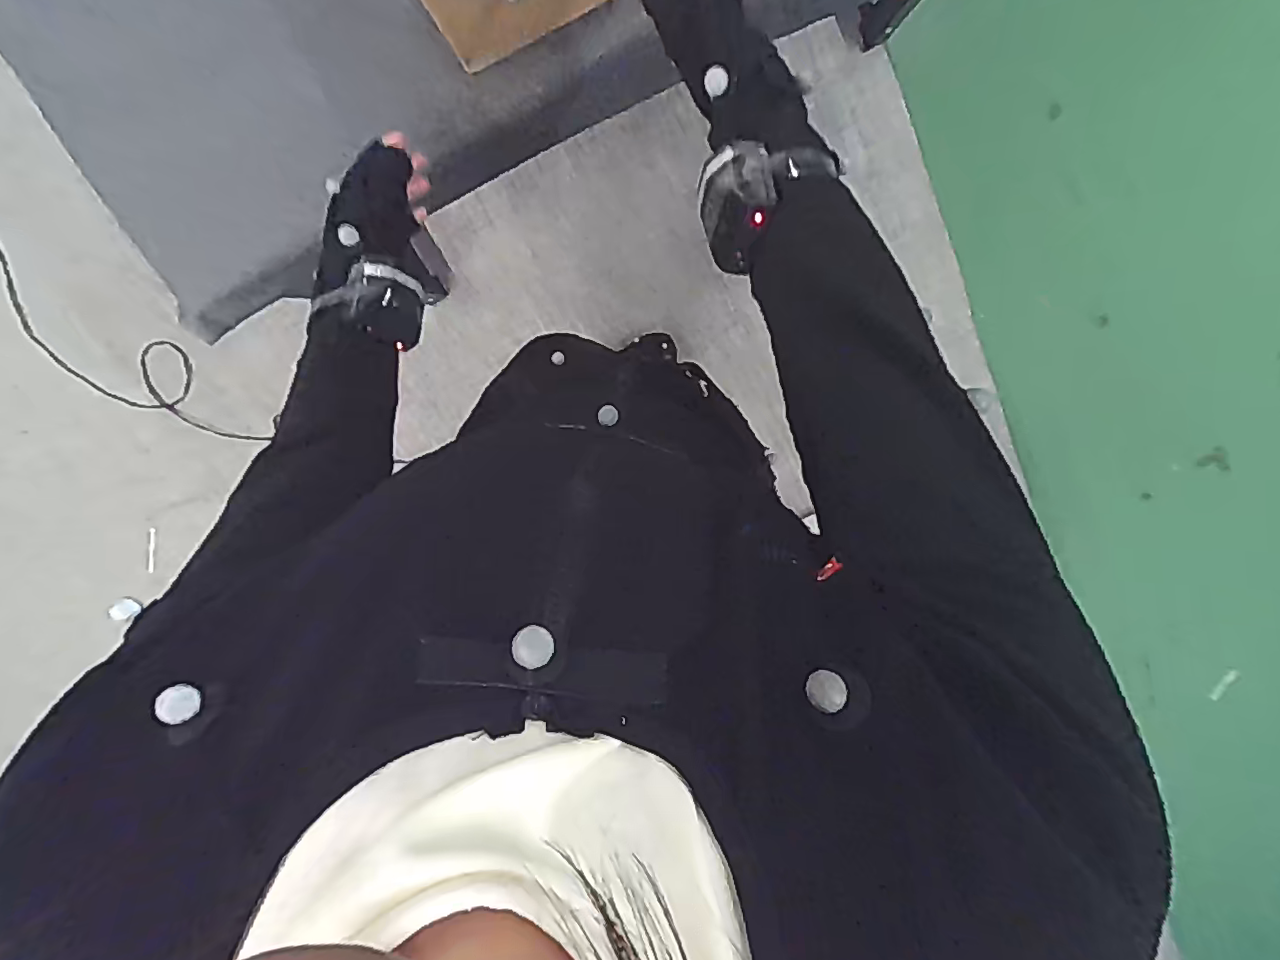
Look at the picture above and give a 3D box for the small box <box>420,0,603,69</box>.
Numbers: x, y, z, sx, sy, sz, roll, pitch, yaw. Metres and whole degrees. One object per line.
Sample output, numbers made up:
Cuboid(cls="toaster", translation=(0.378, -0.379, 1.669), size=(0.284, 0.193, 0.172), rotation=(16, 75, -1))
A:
Cuboid(cls="small box", translation=(-0.133, -0.498, 0.452), size=(0.179, 0.176, 0.168), rotation=(-23, 103, 8))
